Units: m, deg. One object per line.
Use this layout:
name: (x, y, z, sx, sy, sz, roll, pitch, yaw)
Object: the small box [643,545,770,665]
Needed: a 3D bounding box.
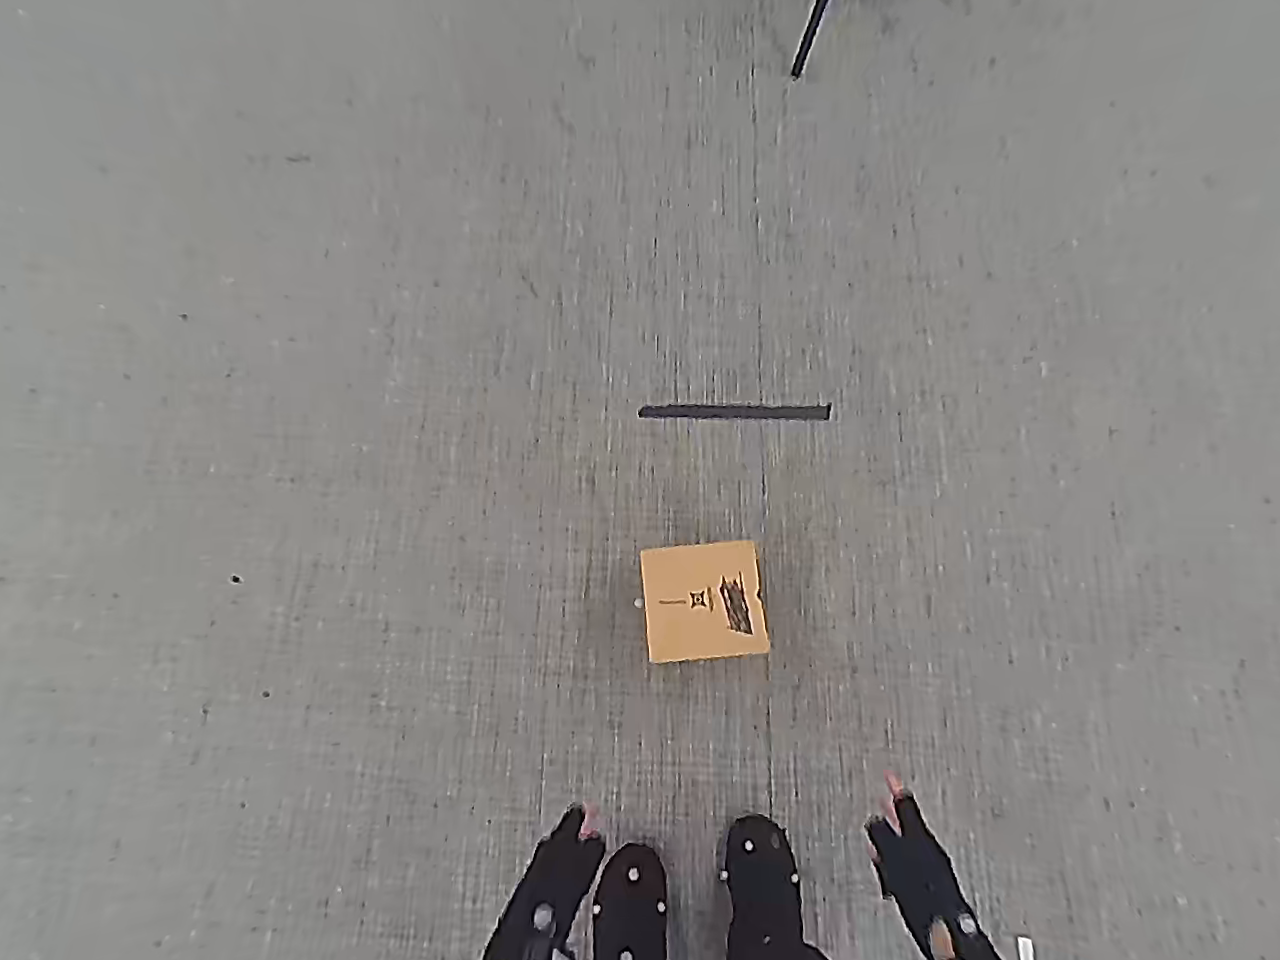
small box: (0.096, 0.199, 0.868, 0.179, 0.176, 0.168, -5, 75, 1)
